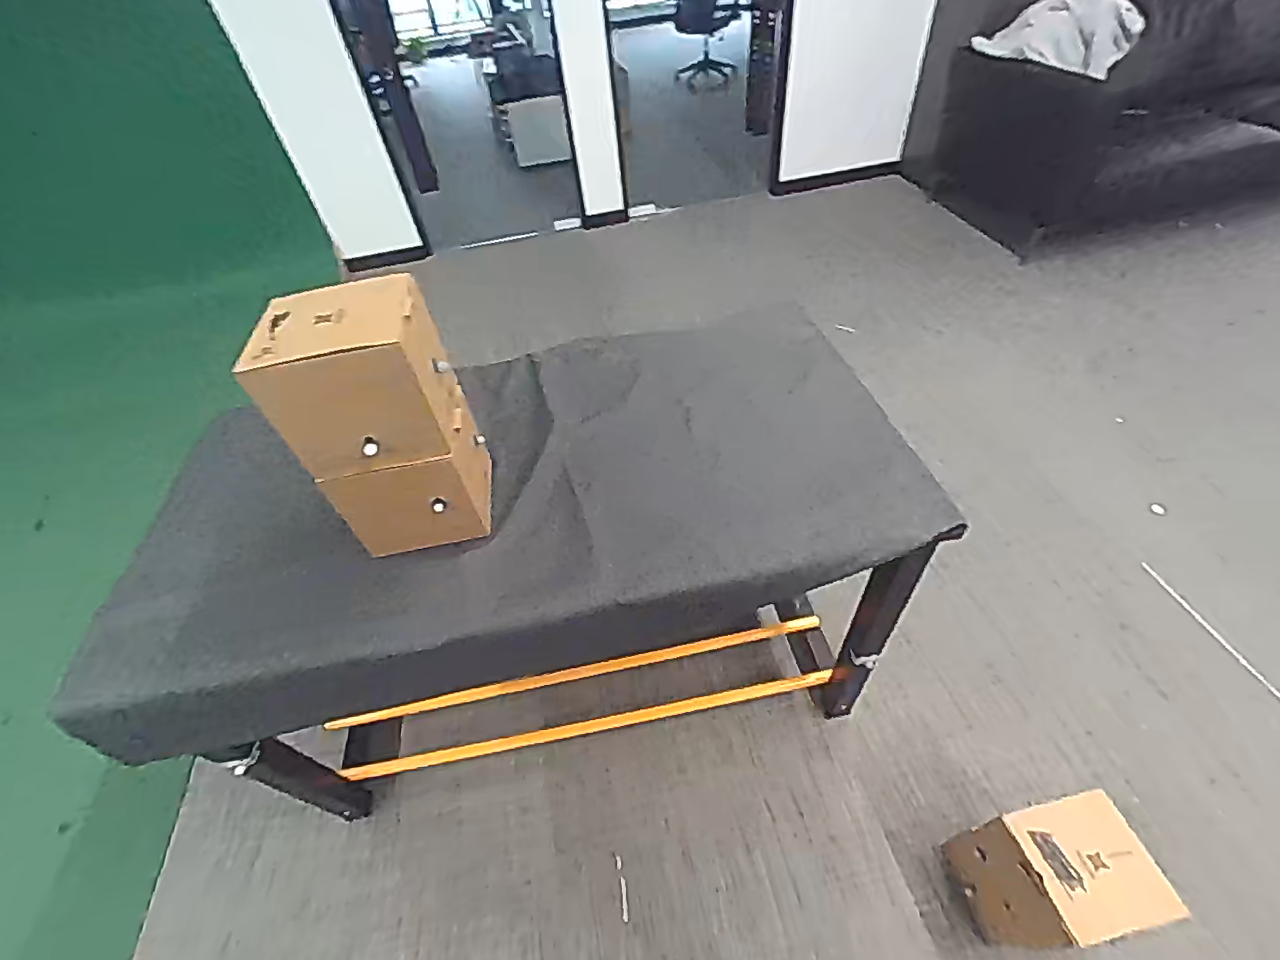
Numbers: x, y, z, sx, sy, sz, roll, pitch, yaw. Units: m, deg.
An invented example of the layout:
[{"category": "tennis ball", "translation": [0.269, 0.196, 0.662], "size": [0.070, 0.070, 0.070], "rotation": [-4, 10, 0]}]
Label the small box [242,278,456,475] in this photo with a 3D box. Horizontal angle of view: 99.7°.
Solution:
[{"category": "small box", "translation": [-0.345, -0.130, 0.687], "size": [0.179, 0.176, 0.168], "rotation": [-12, 46, -5]}]

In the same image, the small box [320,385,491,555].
[{"category": "small box", "translation": [-0.327, -0.012, 0.800], "size": [0.179, 0.176, 0.168], "rotation": [-12, 45, -3]}]

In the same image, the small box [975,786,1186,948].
[{"category": "small box", "translation": [0.672, 0.617, 0.860], "size": [0.179, 0.176, 0.168], "rotation": [-12, 47, -5]}]

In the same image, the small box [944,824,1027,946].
[{"category": "small box", "translation": [0.698, 0.723, 0.982], "size": [0.179, 0.176, 0.168], "rotation": [-10, 46, -3]}]
